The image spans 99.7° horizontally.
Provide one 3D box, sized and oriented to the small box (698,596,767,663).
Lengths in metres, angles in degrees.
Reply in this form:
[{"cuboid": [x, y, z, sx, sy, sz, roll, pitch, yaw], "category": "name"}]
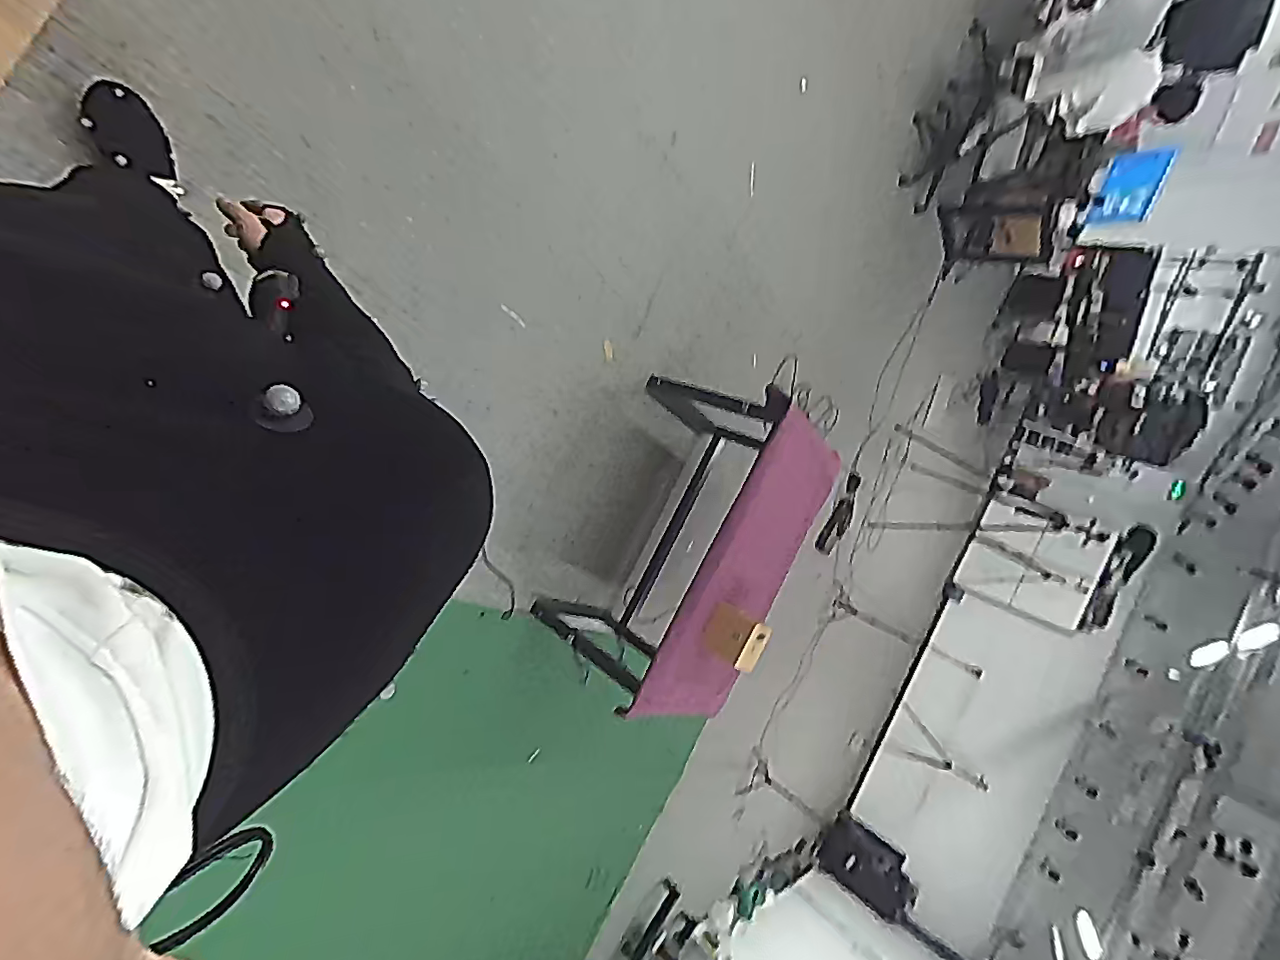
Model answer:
[{"cuboid": [0.344, 0.556, 2.024, 0.168, 0.176, 0.179, 36, 82, -51], "category": "small box"}]
